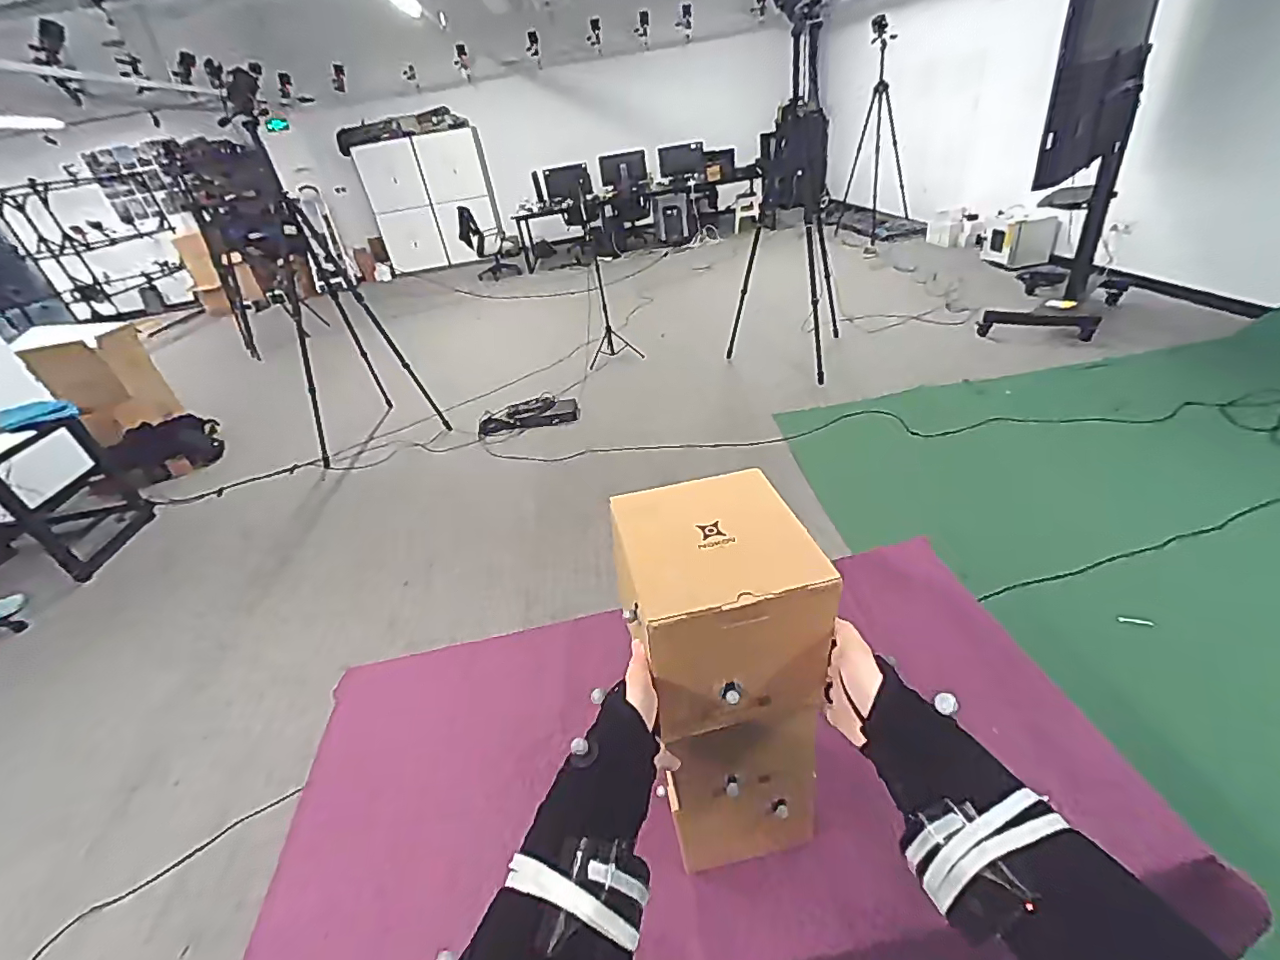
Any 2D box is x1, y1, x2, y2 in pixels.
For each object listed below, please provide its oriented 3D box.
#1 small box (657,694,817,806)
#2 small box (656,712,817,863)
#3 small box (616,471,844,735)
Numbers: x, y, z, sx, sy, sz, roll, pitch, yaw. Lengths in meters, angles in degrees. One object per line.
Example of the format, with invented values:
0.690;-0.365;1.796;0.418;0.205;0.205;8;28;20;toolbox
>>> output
0.098;0.251;0.655;0.168;0.176;0.179;-13;34;-3;small box
0.125;0.386;0.743;0.179;0.176;0.168;-12;33;-2;small box
0.076;0.117;0.543;0.168;0.176;0.179;-12;36;-8;small box
